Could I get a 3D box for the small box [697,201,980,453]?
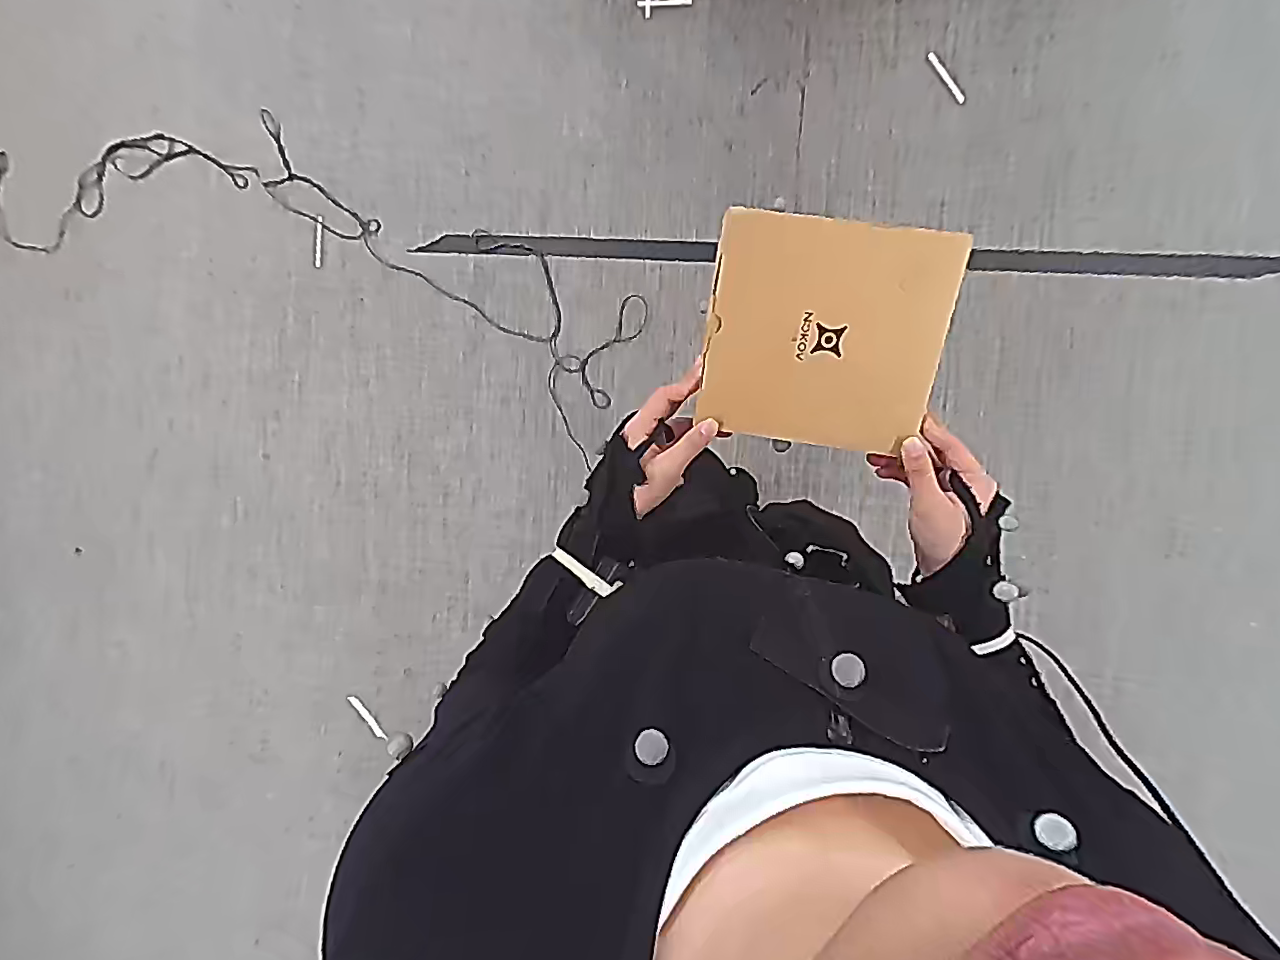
[{"bbox_3d":[0.149,-0.134,0.477,0.179,0.176,0.168,8,108,5],"label":"small box"}]
